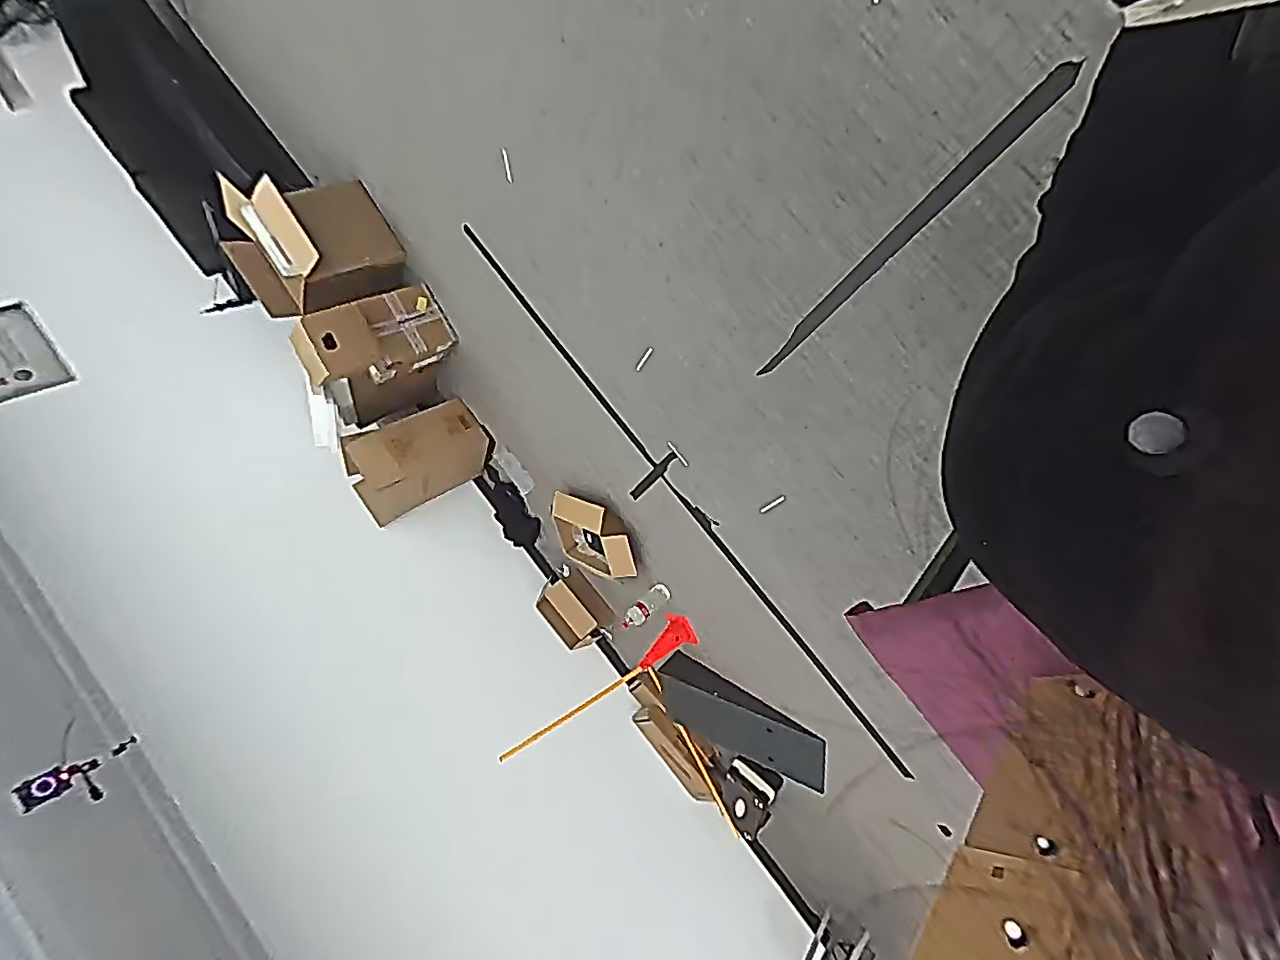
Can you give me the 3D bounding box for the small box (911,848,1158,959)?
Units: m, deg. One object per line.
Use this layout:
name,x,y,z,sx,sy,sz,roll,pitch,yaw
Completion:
small box,0.433,0.541,0.576,0.179,0.176,0.168,54,146,1

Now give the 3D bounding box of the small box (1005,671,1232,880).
small box,0.666,0.395,0.754,0.179,0.176,0.168,54,146,4

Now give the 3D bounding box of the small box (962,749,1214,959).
small box,0.550,0.469,0.664,0.179,0.176,0.168,54,146,1
